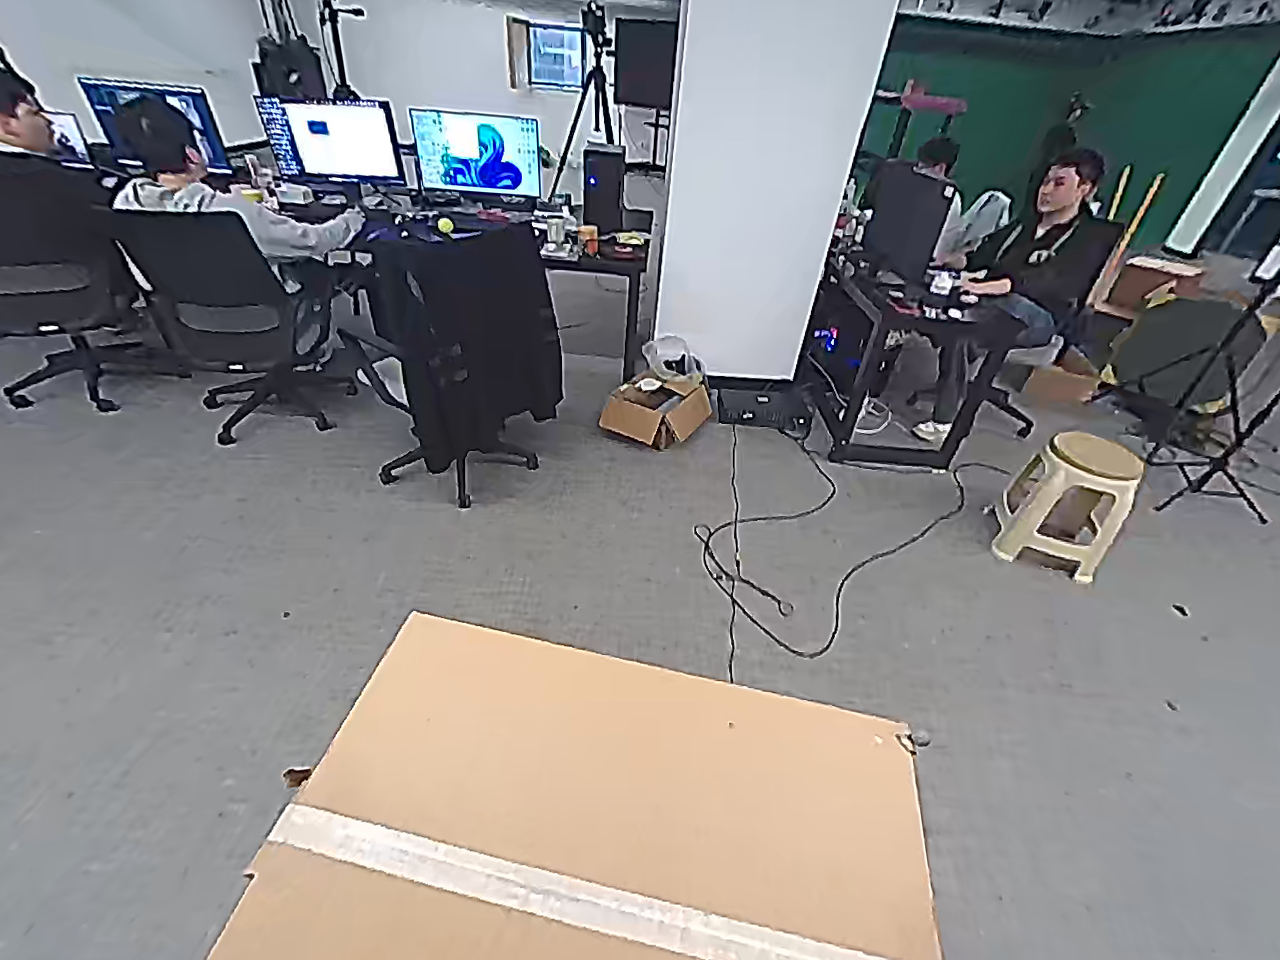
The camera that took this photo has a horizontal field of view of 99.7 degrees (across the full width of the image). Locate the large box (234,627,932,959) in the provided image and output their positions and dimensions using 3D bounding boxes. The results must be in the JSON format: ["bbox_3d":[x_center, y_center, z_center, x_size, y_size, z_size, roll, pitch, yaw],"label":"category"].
[{"bbox_3d":[-0.034,0.366,0.436,0.408,0.320,0.320,11,45,5],"label":"large box"}]
